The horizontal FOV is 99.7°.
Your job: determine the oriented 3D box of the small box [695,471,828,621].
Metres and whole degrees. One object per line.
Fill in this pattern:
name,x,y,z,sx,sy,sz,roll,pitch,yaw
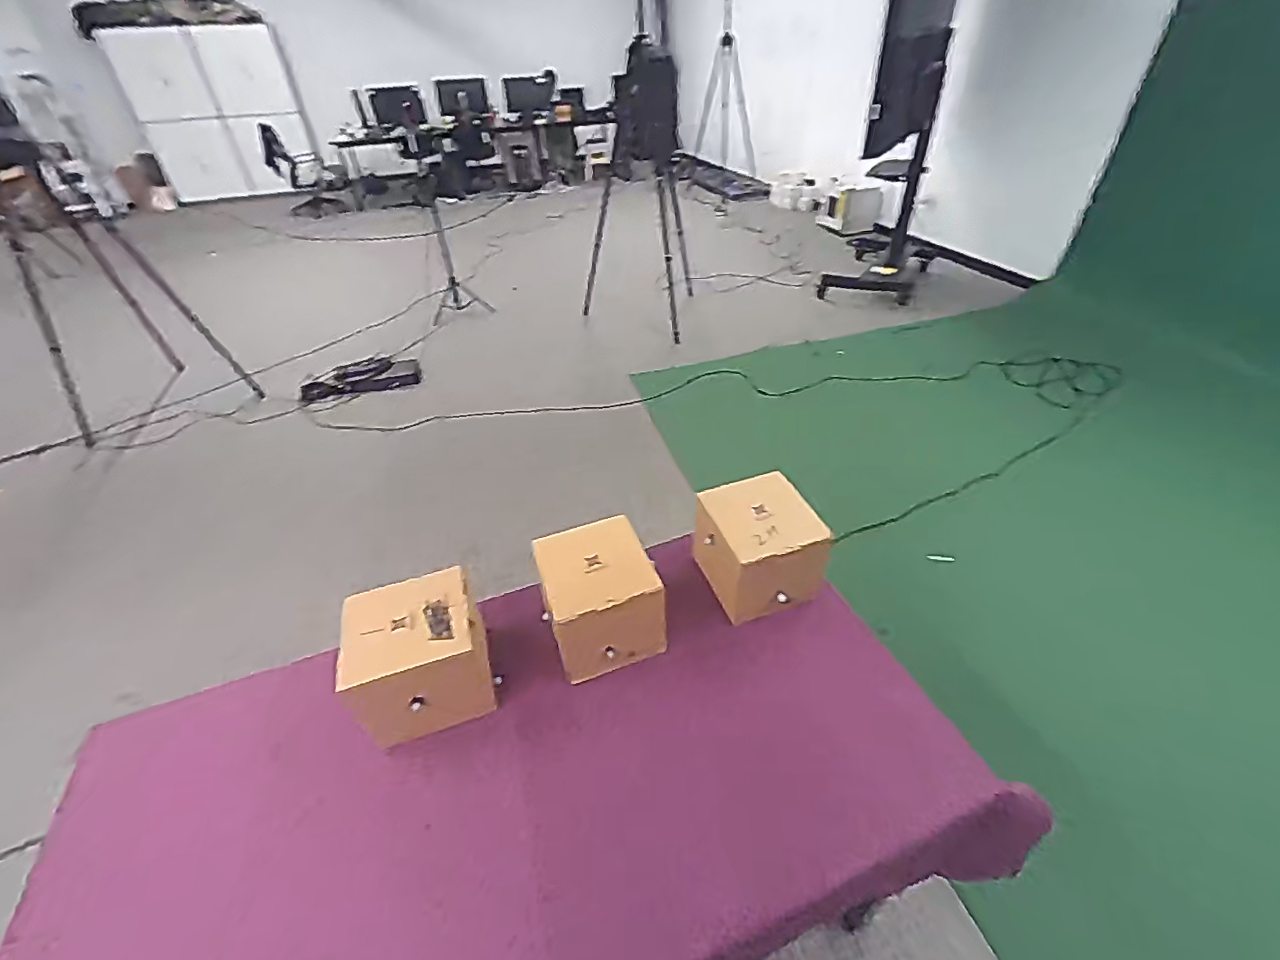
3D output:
small box,0.202,0.116,0.959,0.168,0.176,0.179,-15,44,-12

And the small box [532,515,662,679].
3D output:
small box,-0.070,0.193,0.898,0.168,0.176,0.179,-16,42,-14

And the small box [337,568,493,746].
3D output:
small box,-0.332,0.269,0.824,0.179,0.176,0.168,-16,41,-13
